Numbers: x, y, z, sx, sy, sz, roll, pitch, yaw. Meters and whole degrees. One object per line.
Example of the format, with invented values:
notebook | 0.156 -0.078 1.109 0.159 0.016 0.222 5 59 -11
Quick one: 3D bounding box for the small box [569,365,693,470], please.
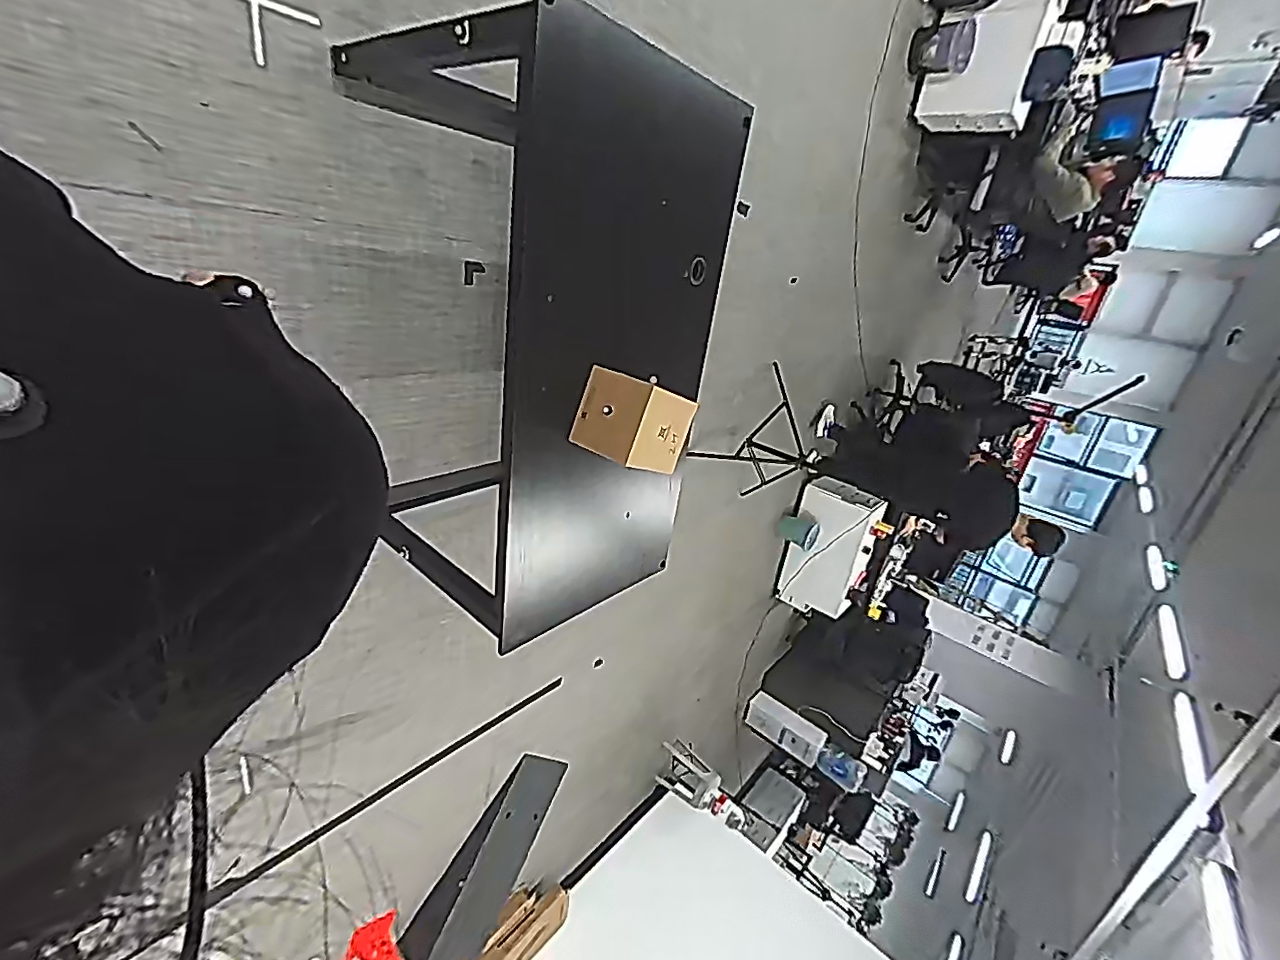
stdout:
small box | -0.021 -0.134 1.146 0.179 0.176 0.168 9 104 -55
